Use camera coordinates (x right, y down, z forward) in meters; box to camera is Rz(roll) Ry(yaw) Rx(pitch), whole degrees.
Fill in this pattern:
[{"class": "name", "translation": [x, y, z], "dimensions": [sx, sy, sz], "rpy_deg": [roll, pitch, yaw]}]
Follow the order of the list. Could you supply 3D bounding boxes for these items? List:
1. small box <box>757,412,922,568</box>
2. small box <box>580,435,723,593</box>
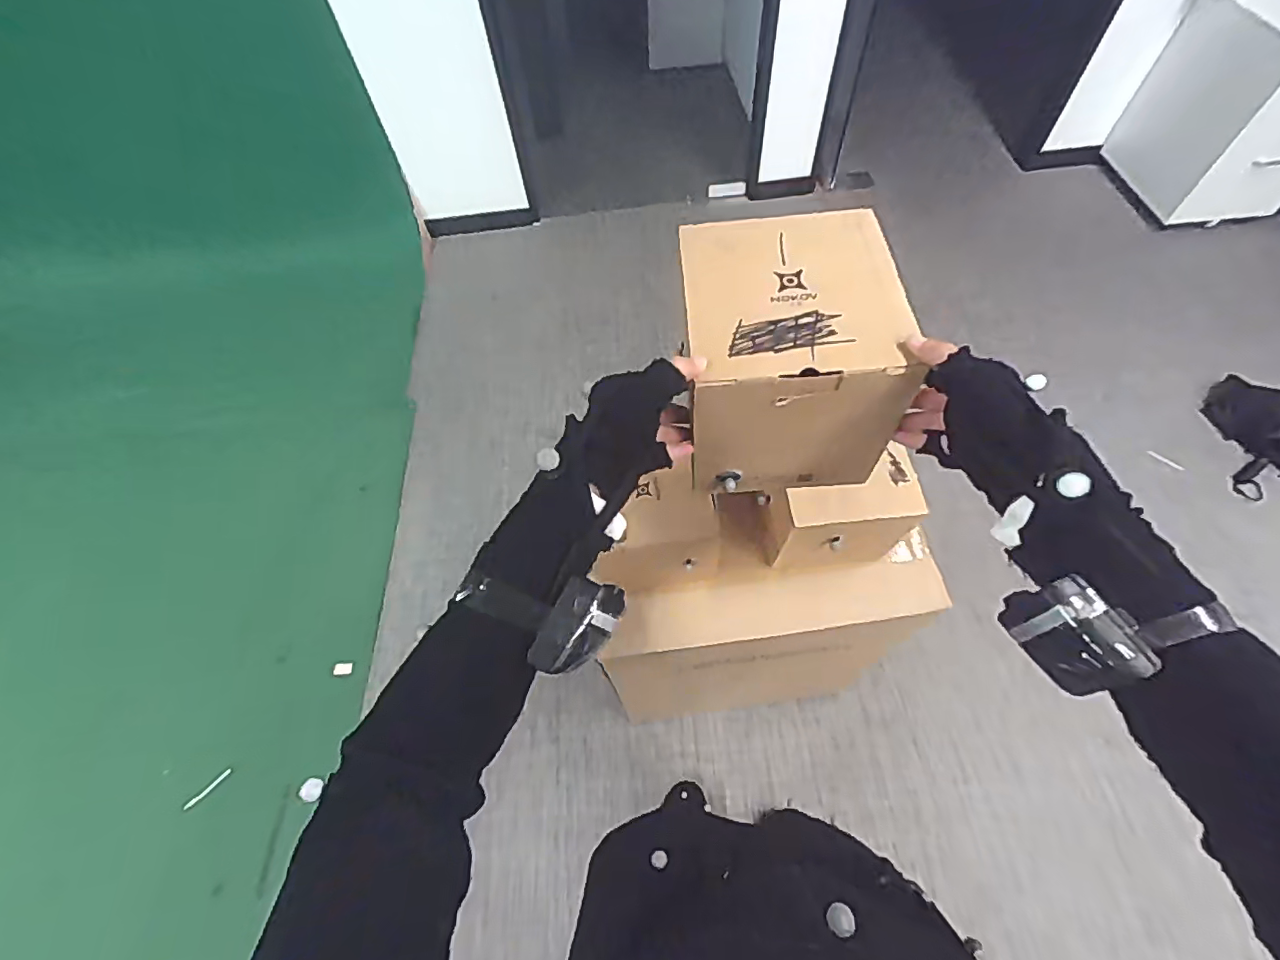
[{"class": "small box", "translation": [0.274, 0.022, 0.797], "dimensions": [0.179, 0.176, 0.168], "rpy_deg": [-7, 63, 1]}, {"class": "small box", "translation": [0.015, 0.056, 0.794], "dimensions": [0.179, 0.176, 0.168], "rpy_deg": [-9, 61, 0]}]
